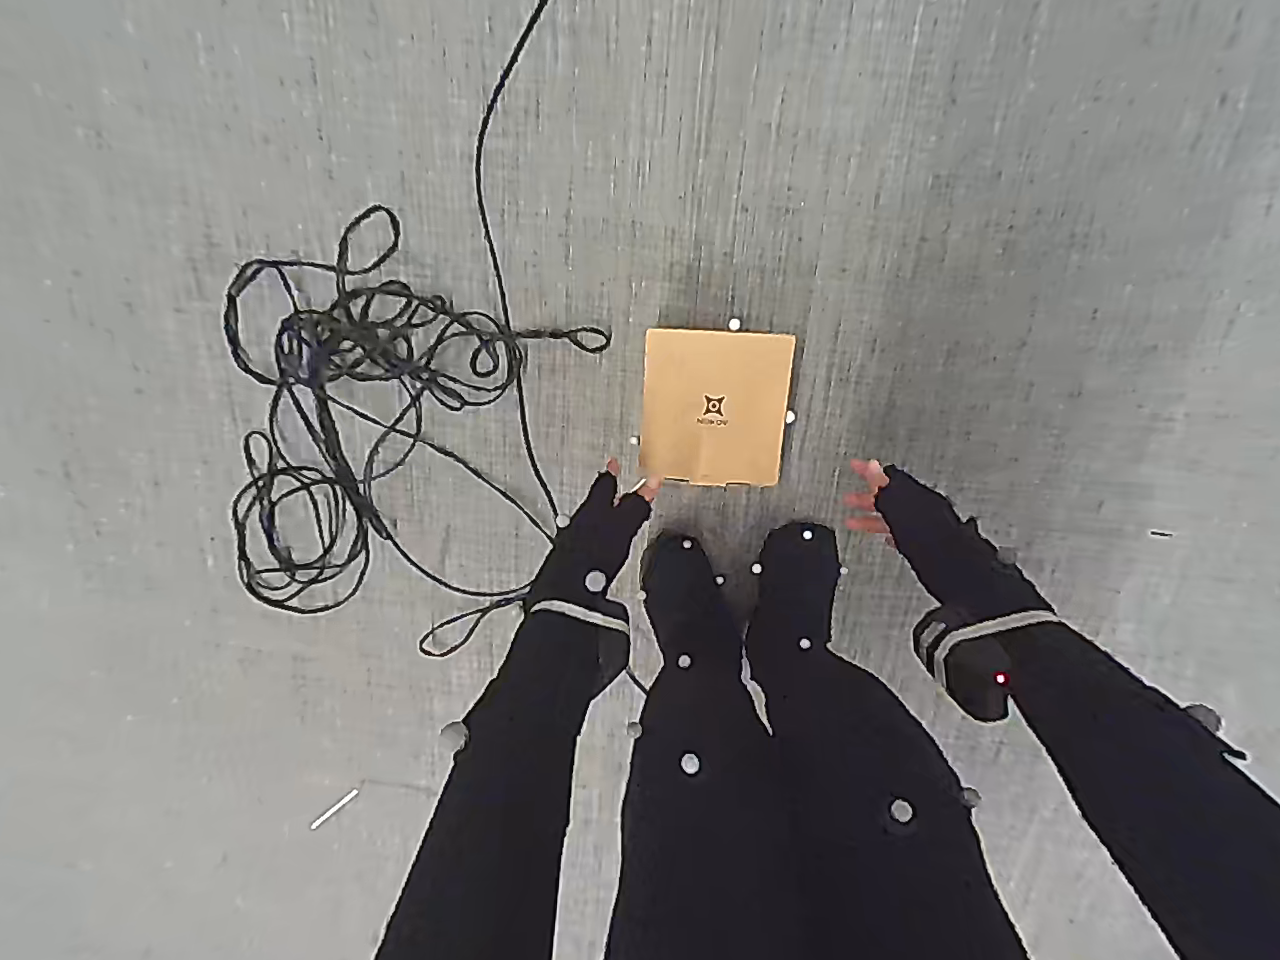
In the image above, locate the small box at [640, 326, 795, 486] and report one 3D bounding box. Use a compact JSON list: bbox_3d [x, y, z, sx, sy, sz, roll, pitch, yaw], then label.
[{"bbox_3d":[0.090,-0.104,0.692,0.168,0.176,0.179,4,107,4],"label":"small box"}]
